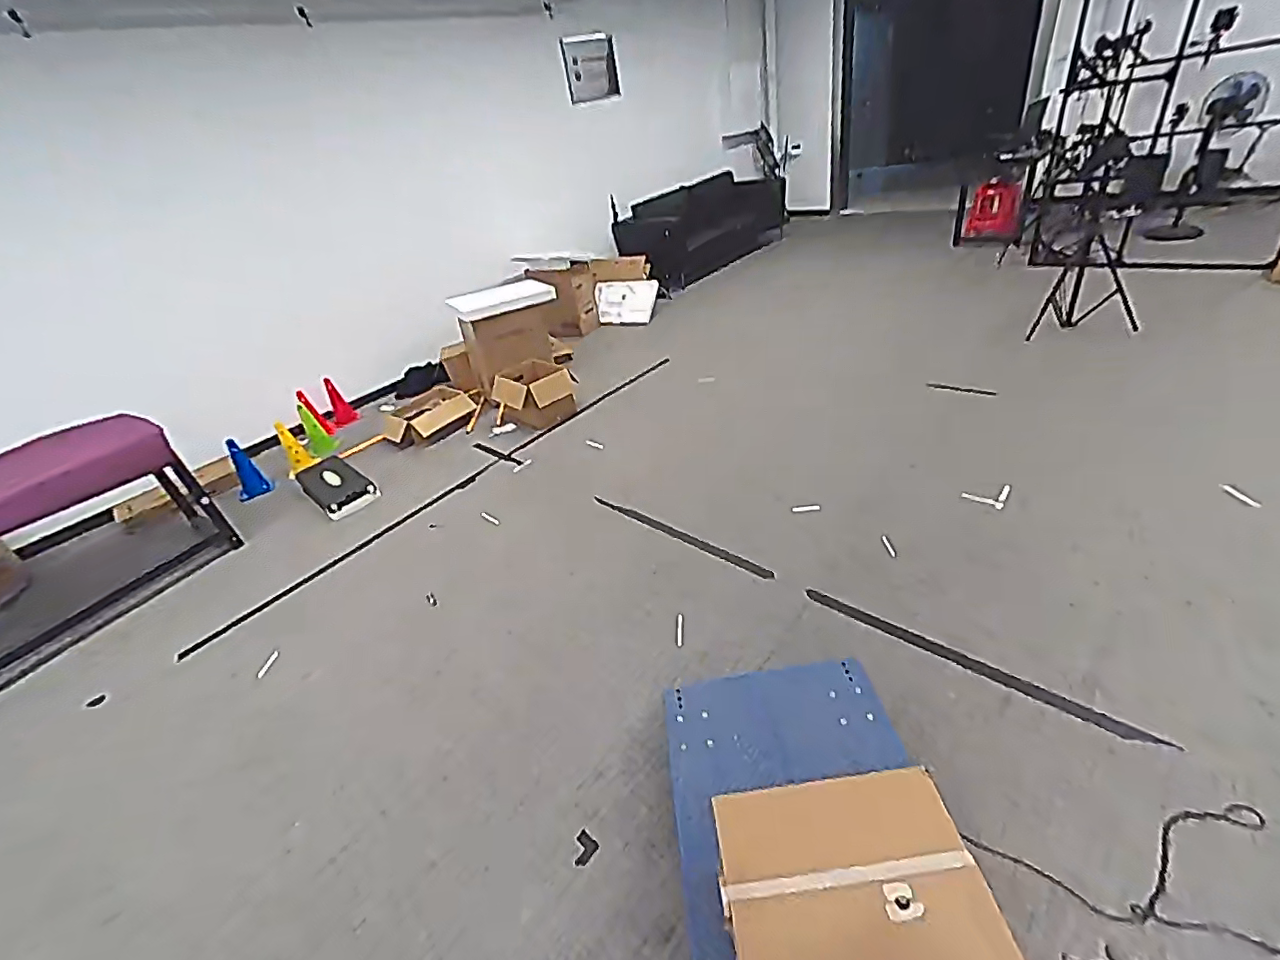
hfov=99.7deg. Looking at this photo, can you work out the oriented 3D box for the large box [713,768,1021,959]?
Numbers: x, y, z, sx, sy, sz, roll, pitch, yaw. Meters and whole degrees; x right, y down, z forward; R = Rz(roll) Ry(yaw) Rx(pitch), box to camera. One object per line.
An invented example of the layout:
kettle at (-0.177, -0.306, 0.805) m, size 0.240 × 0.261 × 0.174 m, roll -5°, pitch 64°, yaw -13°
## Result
large box at (0.364, 0.778, 0.970) m, size 0.408 × 0.320 × 0.320 m, roll -9°, pitch 34°, yaw 1°
